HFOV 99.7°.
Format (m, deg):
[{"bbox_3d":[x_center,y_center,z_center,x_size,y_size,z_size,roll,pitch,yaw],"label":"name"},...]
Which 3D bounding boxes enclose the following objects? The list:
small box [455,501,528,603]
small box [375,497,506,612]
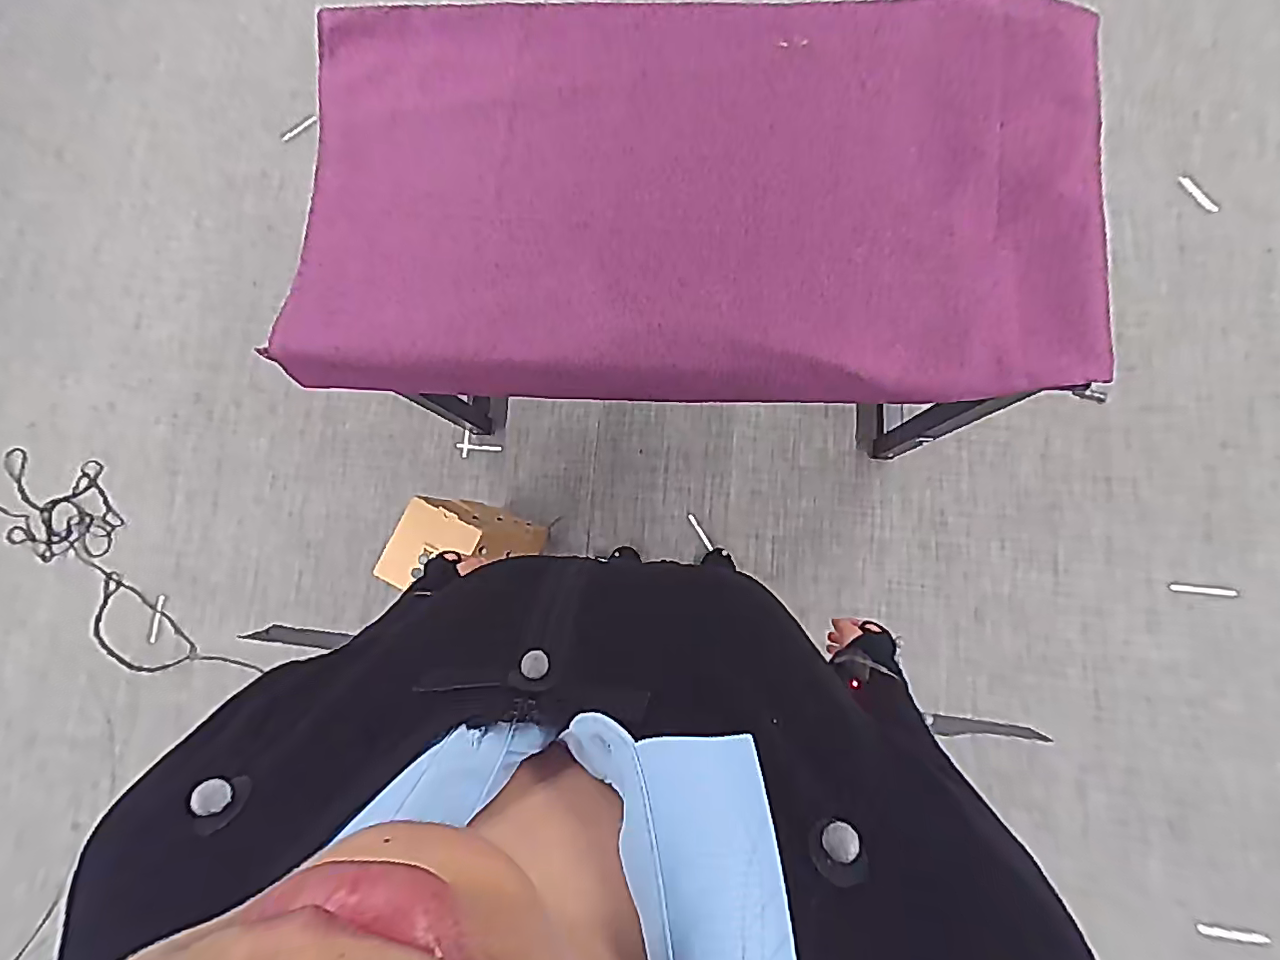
[{"bbox_3d":[-0.389,0.169,1.296,0.168,0.176,0.179,32,87,8],"label":"small box"},{"bbox_3d":[-0.406,0.154,1.135,0.168,0.176,0.179,25,85,7],"label":"small box"}]
